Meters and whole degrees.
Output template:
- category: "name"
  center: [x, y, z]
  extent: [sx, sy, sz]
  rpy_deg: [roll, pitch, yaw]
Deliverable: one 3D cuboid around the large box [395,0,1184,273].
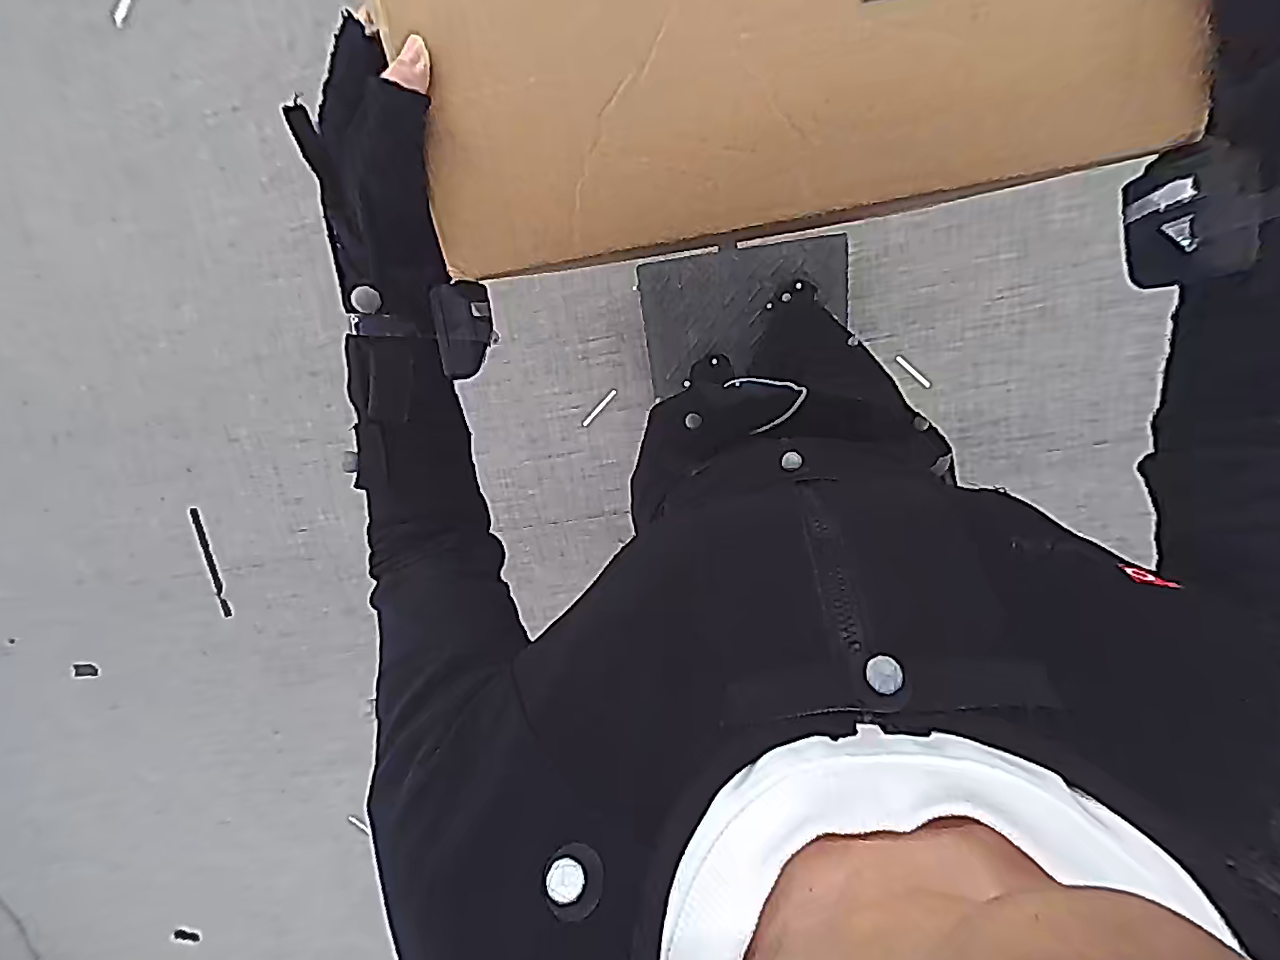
- category: "large box"
  center: [0.068, -0.354, 0.400]
  extent: [0.408, 0.320, 0.320]
  rpy_deg: [-8, 112, 8]
